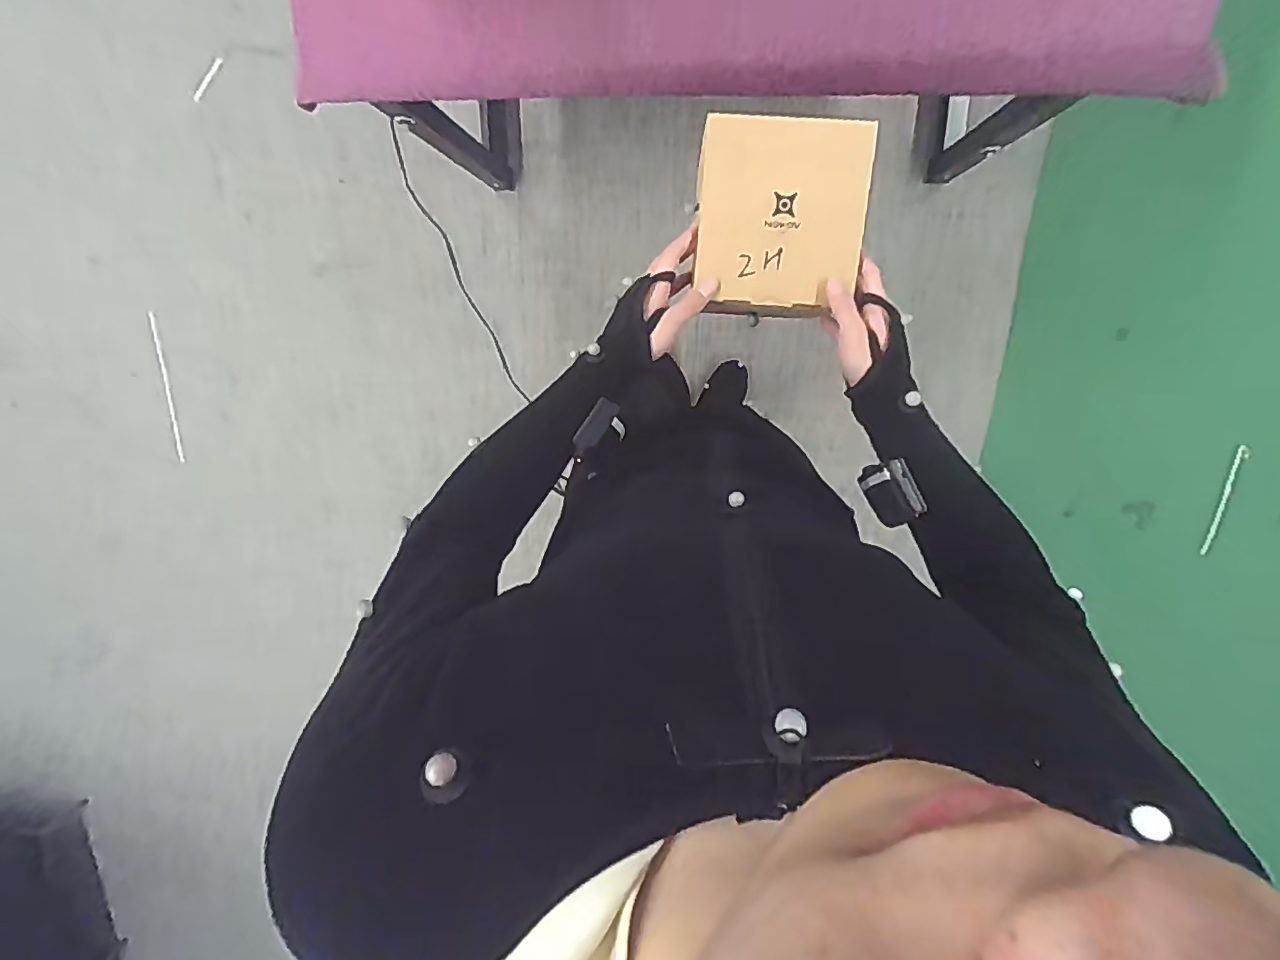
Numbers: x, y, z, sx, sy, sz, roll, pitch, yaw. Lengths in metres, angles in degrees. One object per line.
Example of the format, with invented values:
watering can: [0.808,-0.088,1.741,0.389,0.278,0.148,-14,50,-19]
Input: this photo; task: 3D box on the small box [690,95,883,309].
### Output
small box: [0.148,-0.297,0.614,0.168,0.176,0.179,5,104,2]
